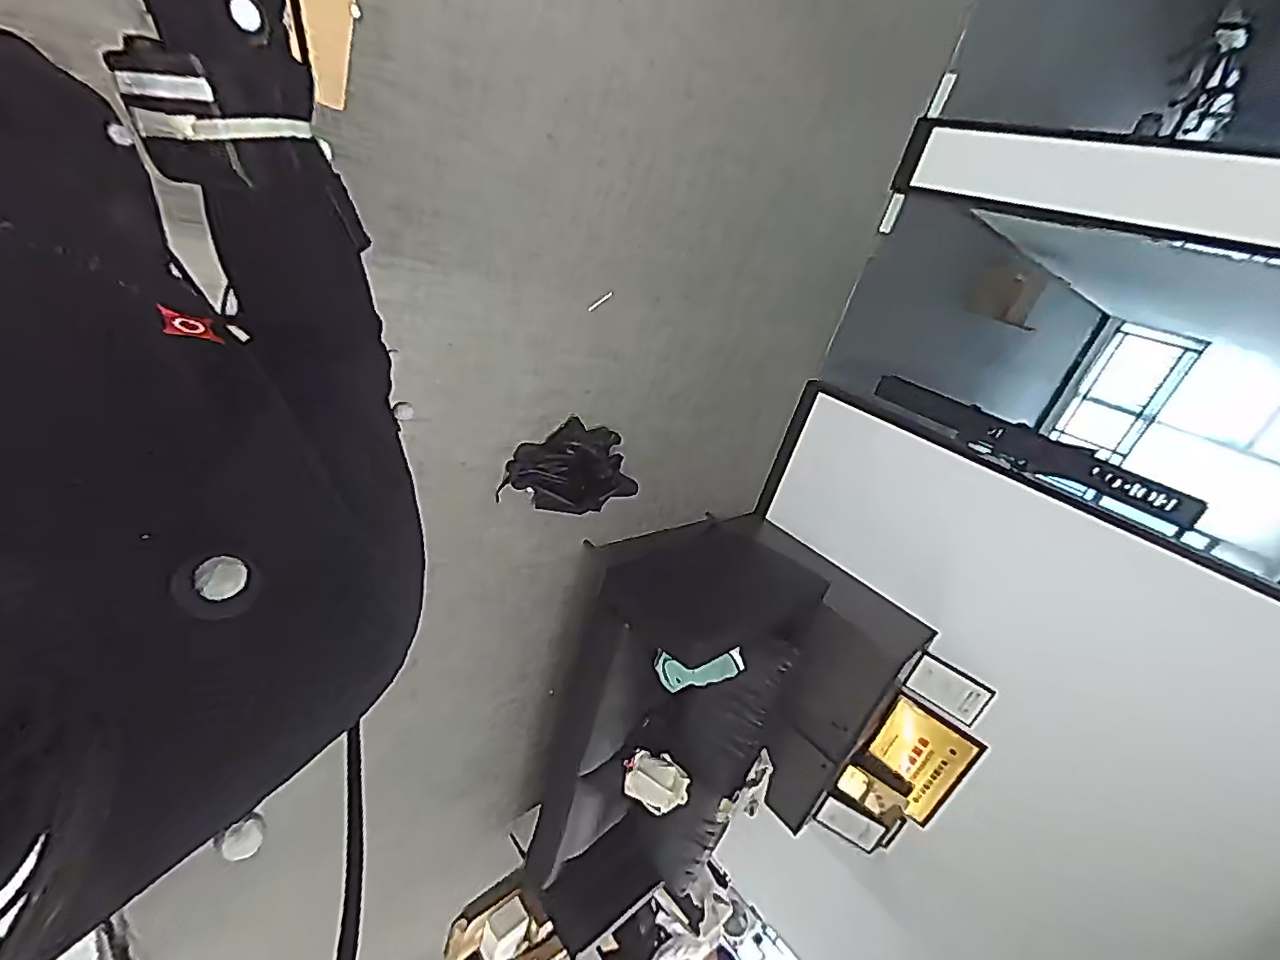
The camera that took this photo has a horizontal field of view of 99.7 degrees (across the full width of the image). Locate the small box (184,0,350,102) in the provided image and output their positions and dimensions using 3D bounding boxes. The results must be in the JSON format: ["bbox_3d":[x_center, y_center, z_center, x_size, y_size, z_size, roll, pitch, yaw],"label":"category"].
[{"bbox_3d":[-0.531,-0.677,0.768,0.168,0.176,0.179,-4,122,-45],"label":"small box"}]
